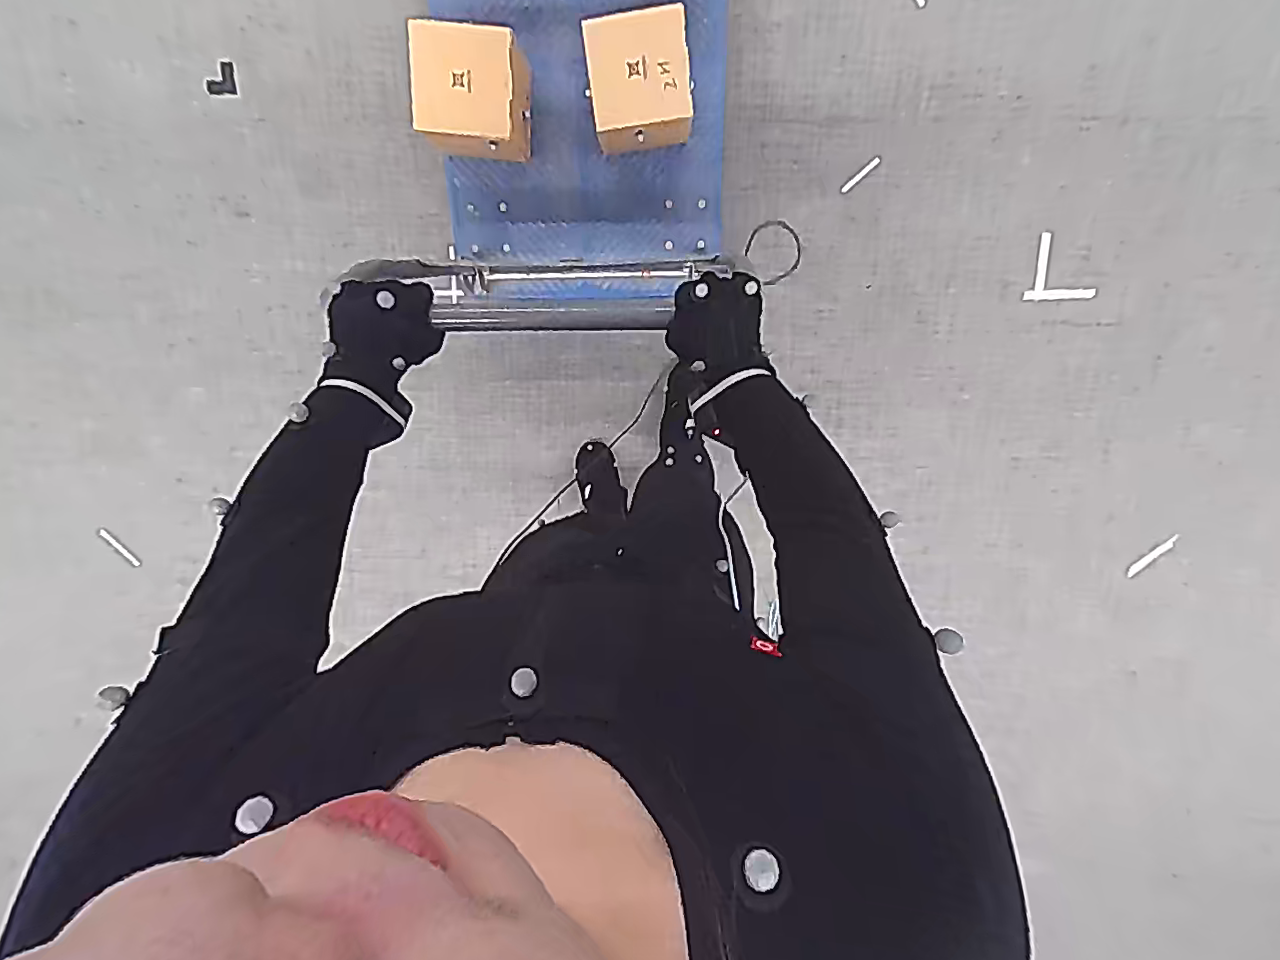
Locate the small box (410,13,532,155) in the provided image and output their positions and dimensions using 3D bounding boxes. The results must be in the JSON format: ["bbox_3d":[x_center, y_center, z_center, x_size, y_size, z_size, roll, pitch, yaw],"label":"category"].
[{"bbox_3d":[-0.305,-0.722,1.005,0.179,0.176,0.168,4,109,-2],"label":"small box"}]

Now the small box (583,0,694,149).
[{"bbox_3d":[0.002,-0.731,0.995,0.179,0.176,0.168,-6,109,4],"label":"small box"}]
